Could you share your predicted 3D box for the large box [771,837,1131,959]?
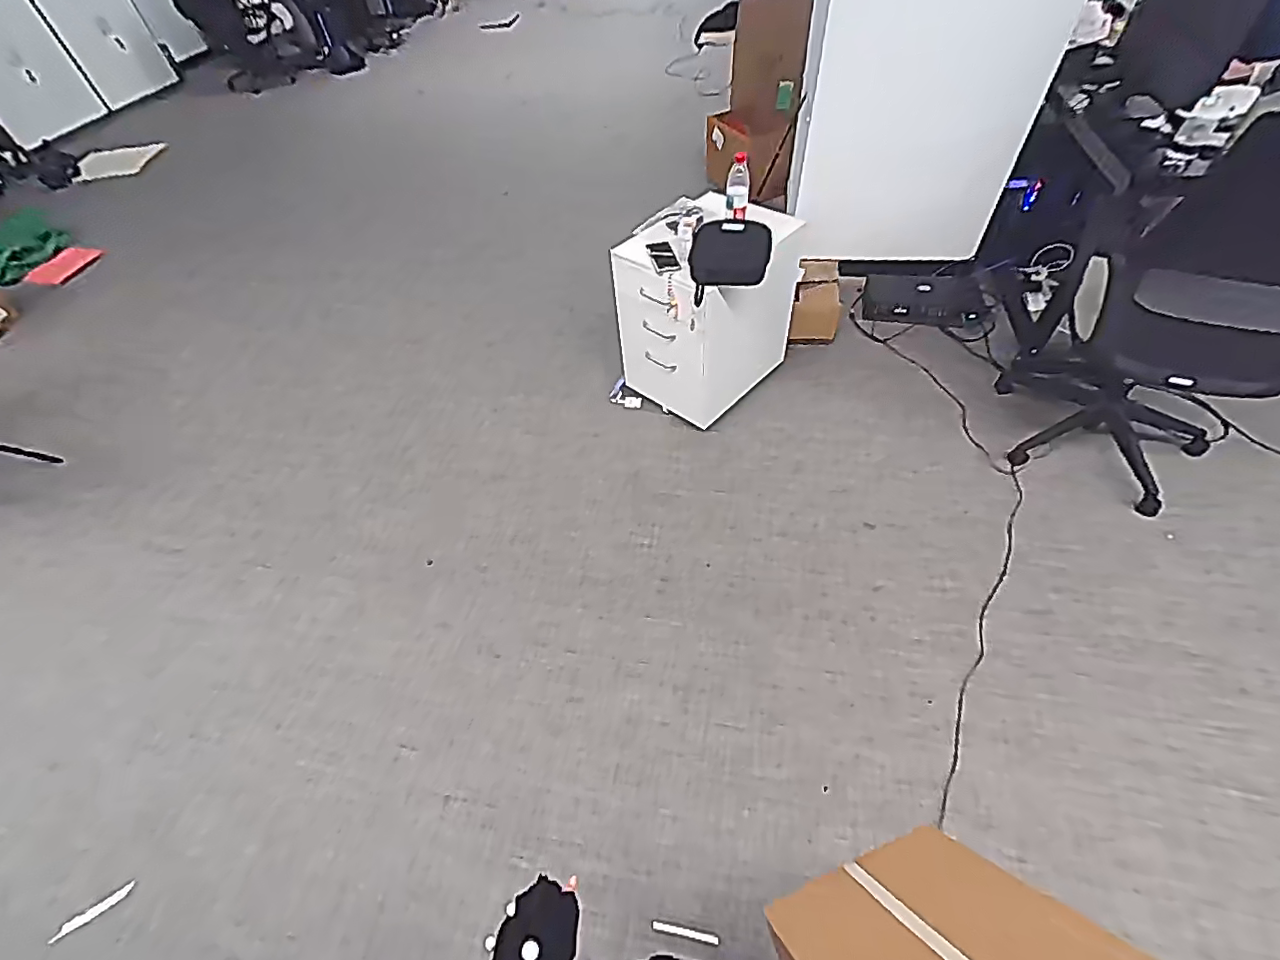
[{"bbox_3d":[0.417,0.726,0.646,0.320,0.408,0.320,-17,82,-12],"label":"large box"}]
